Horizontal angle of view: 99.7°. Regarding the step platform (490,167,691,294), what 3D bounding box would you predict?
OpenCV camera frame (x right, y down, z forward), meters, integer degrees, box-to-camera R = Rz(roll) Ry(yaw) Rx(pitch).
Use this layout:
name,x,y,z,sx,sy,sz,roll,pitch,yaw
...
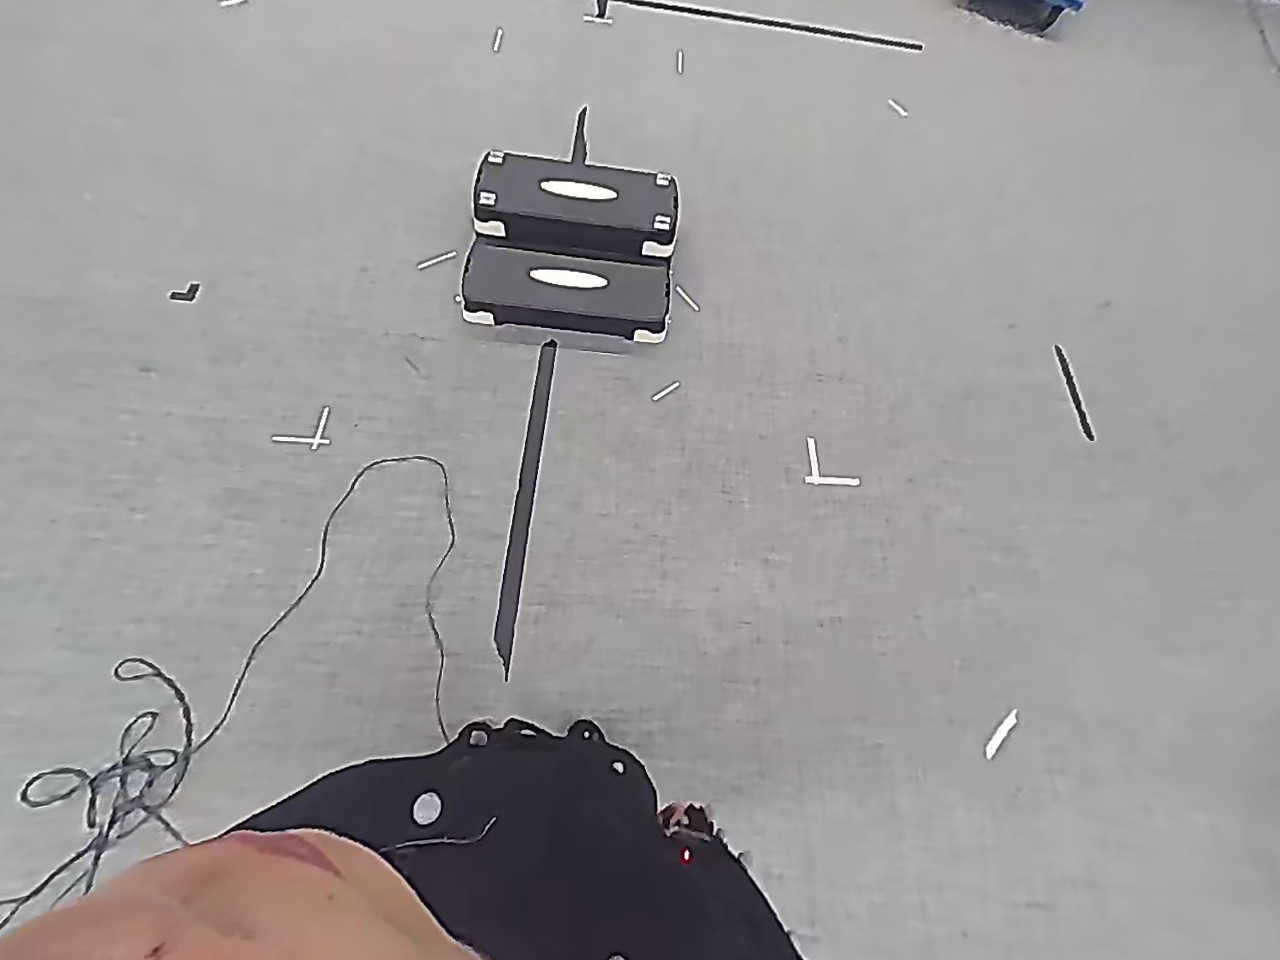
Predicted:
name,x,y,z,sx,sy,sz,roll,pitch,yaw
step platform,-0.165,-0.868,1.884,0.684,0.204,0.286,9,65,-3
